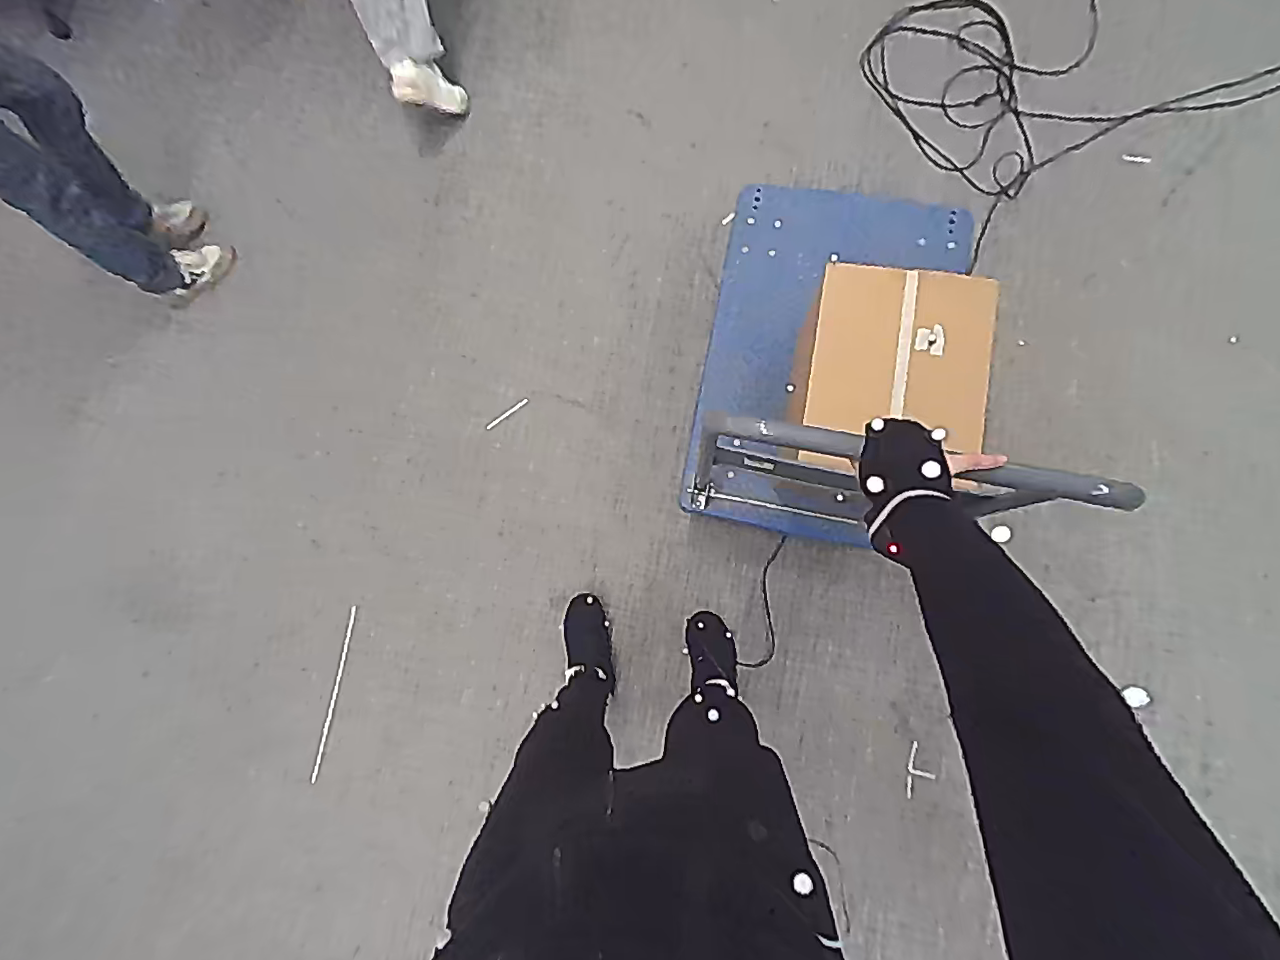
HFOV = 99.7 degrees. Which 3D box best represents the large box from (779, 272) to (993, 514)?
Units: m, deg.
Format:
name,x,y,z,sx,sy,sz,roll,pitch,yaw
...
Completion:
name,x,y,z,sx,sy,sz,roll,pitch,yaw
large box,0.491,-0.160,1.141,0.320,0.320,0.408,10,81,7
